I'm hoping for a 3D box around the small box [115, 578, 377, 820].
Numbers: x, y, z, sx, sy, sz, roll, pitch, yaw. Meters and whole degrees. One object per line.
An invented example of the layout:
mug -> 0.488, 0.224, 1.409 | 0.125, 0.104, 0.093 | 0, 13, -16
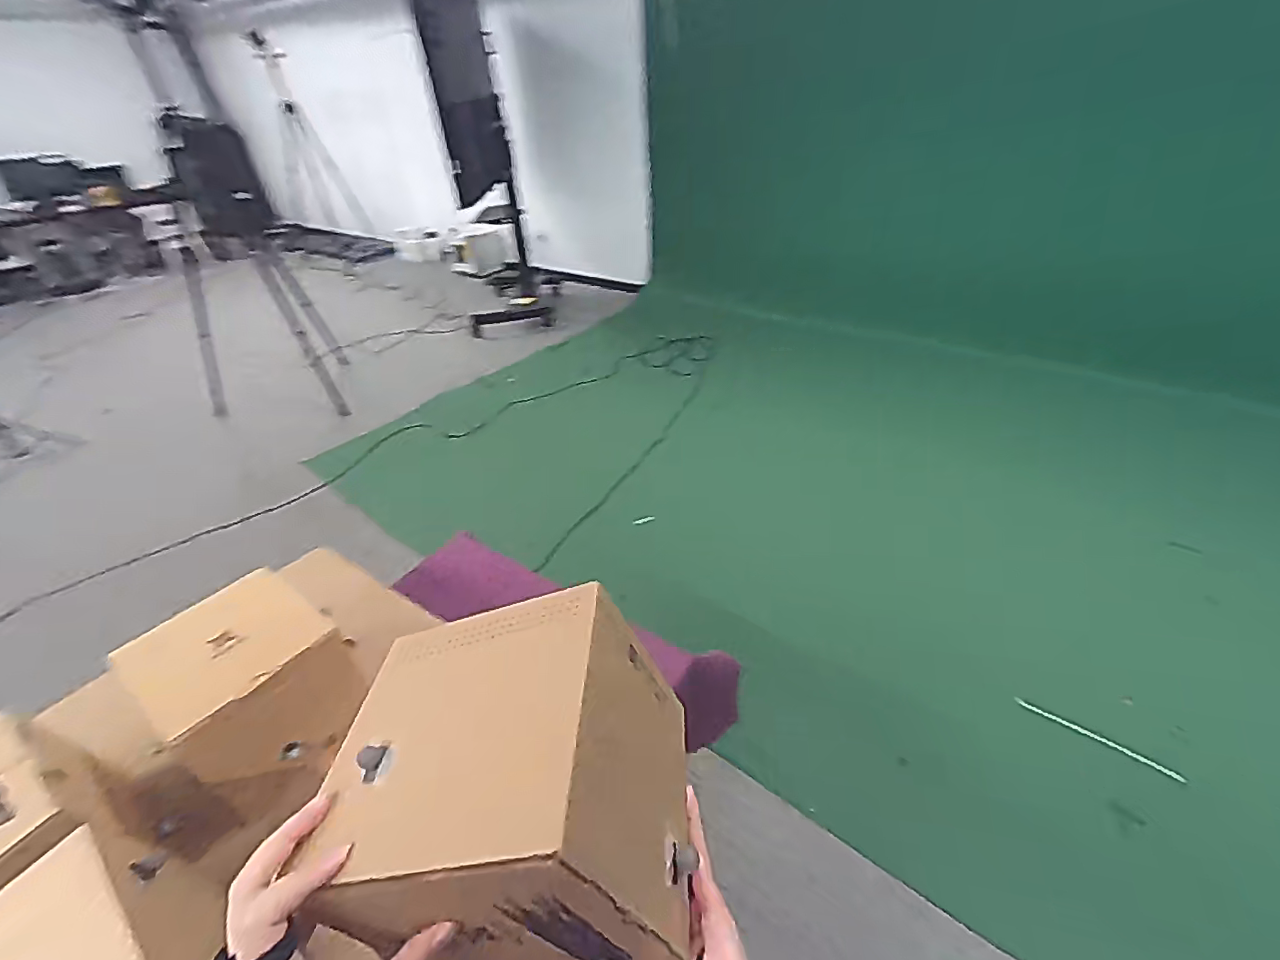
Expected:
small box -> -0.451, 0.254, 0.641 | 0.179, 0.176, 0.168 | 21, 41, 29
